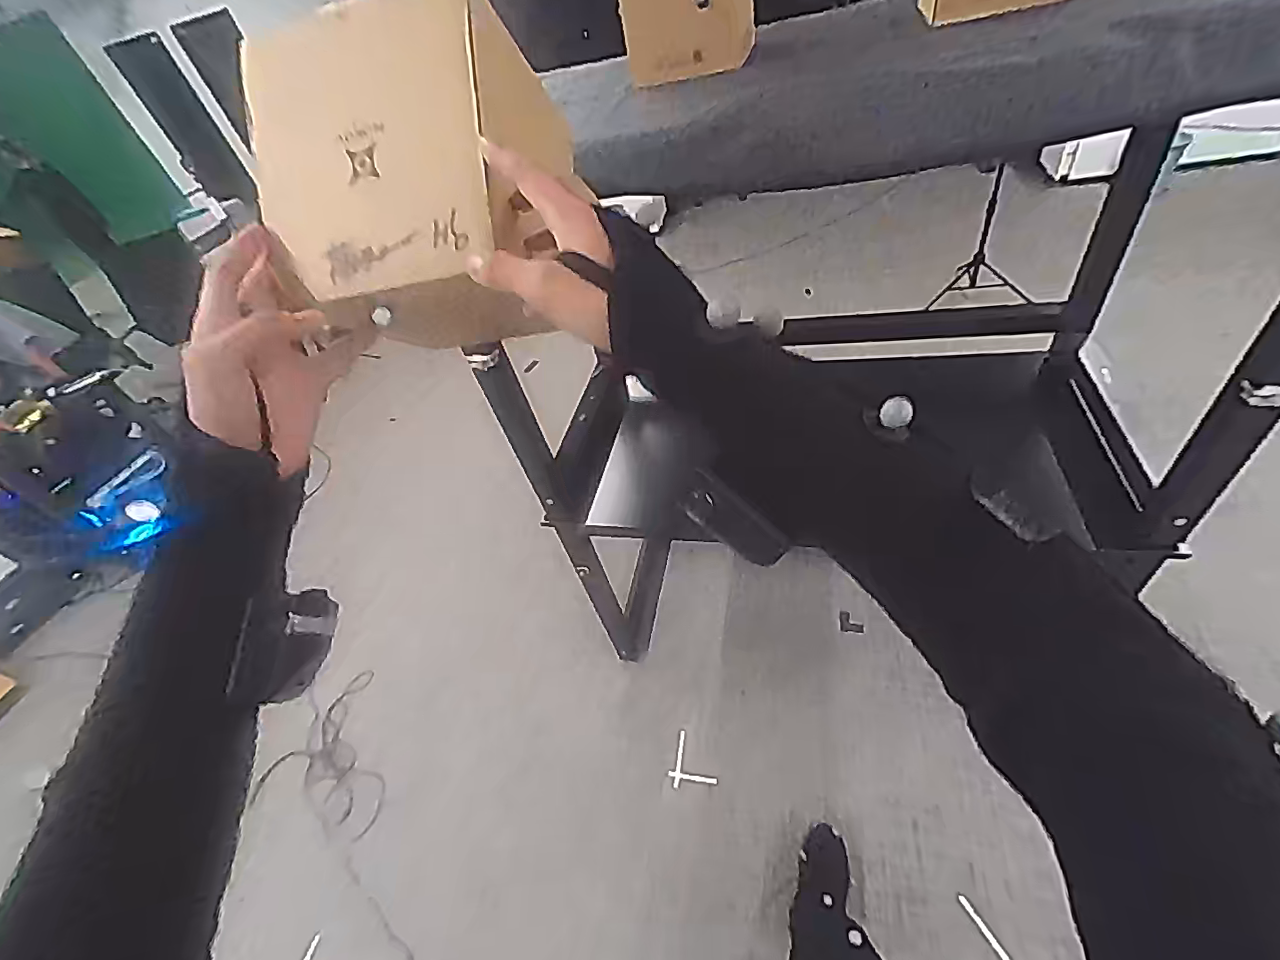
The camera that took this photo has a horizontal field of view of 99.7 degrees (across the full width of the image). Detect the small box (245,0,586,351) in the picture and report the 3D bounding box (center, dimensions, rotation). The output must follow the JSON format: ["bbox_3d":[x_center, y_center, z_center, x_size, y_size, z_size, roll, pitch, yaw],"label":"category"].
[{"bbox_3d":[-0.149,-0.207,0.410,0.168,0.179,0.176,-4,4,14],"label":"small box"}]

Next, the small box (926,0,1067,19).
[{"bbox_3d":[0.464,-0.704,0.672,0.168,0.176,0.179,1,48,18],"label":"small box"}]

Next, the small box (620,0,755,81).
[{"bbox_3d":[0.074,-0.706,0.787,0.168,0.176,0.179,4,49,18],"label":"small box"}]
